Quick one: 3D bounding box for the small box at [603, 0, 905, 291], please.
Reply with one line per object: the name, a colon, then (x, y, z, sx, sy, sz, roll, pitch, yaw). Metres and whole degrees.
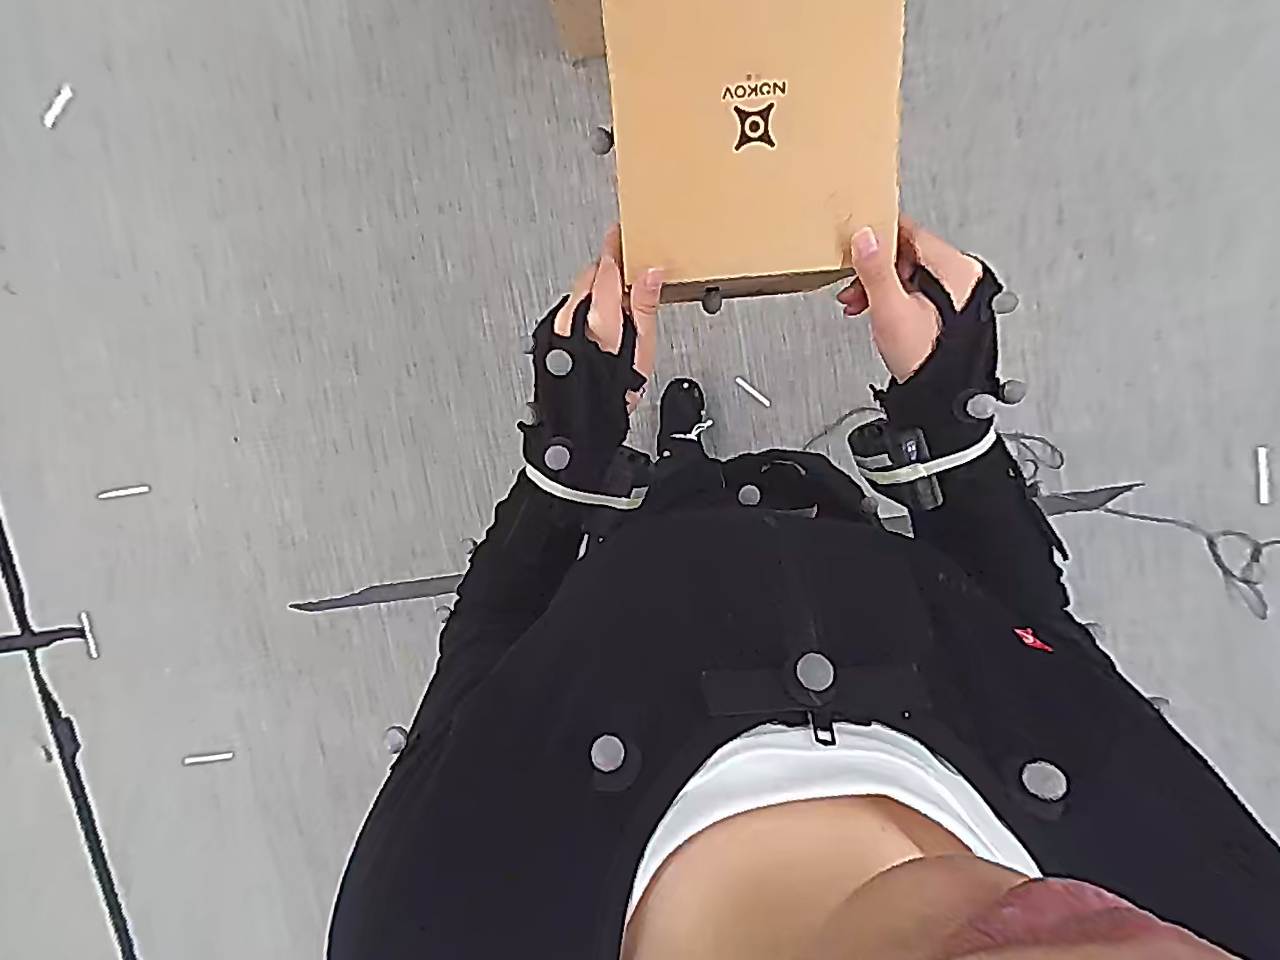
small box: (0.069, -0.235, 0.385, 0.168, 0.176, 0.179, -4, 102, 4)
